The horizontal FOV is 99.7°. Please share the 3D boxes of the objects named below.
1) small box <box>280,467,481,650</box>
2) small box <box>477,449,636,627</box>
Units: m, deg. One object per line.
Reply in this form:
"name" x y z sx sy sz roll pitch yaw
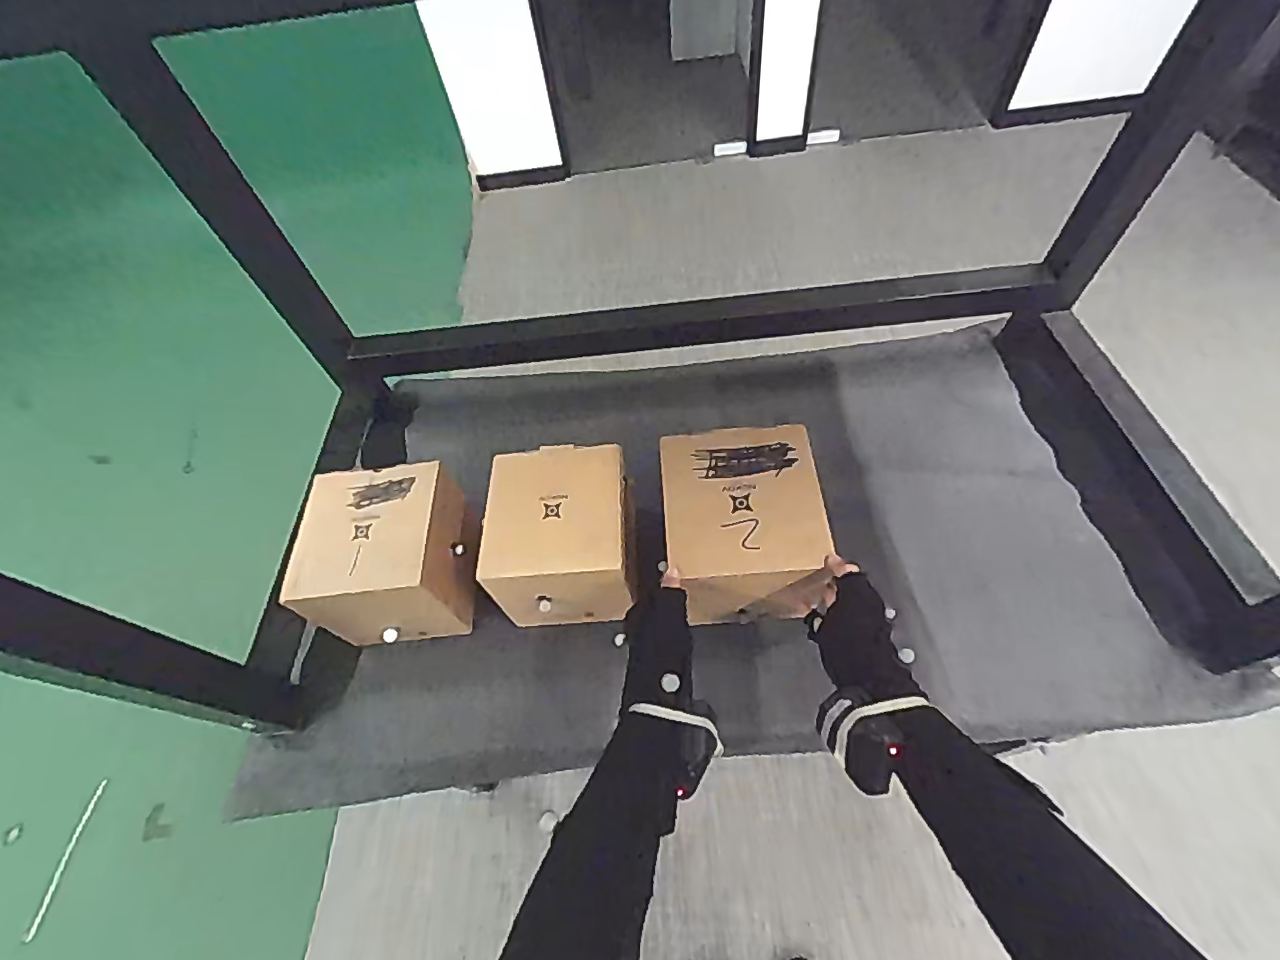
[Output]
"small box" -0.321 0.107 0.715 0.168 0.176 0.179 -7 55 3
"small box" -0.095 0.084 0.707 0.168 0.176 0.179 -5 54 3
